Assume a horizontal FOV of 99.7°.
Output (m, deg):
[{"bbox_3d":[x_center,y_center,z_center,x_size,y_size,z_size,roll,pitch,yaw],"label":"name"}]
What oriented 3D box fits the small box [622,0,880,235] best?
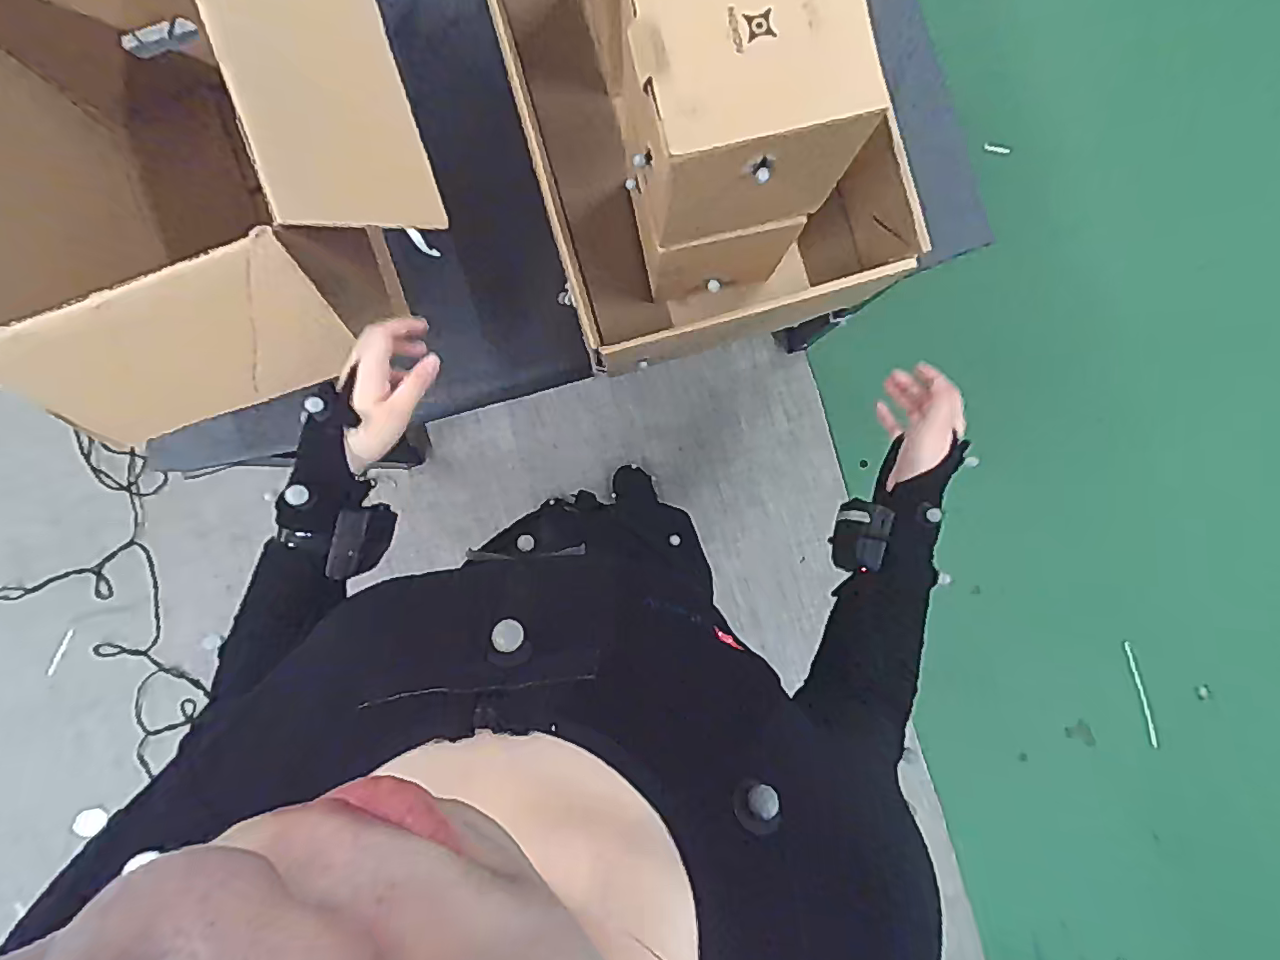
[{"bbox_3d":[0.084,-0.350,0.496,0.179,0.176,0.168,-13,93,-1],"label":"small box"}]
